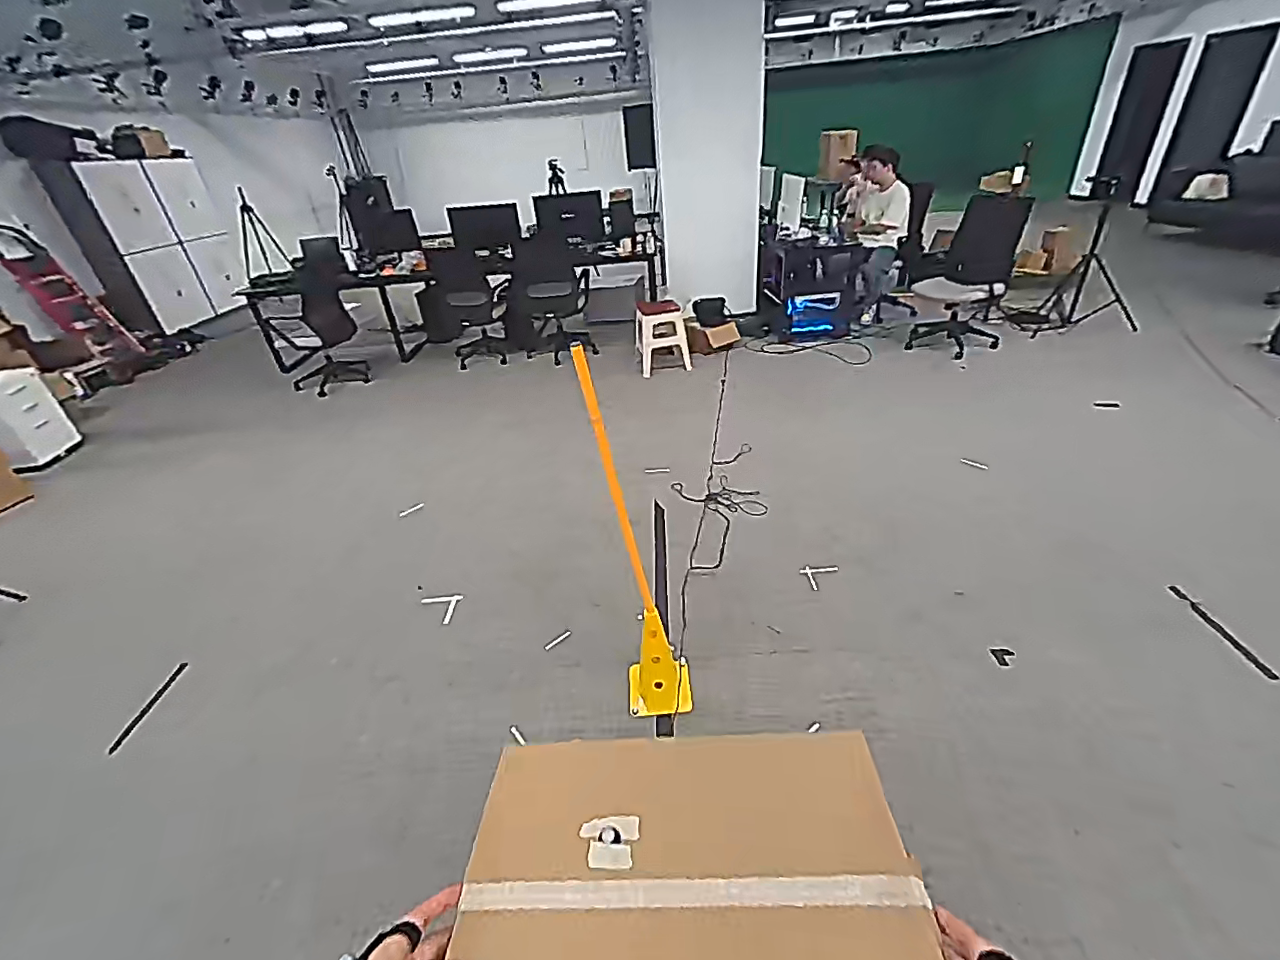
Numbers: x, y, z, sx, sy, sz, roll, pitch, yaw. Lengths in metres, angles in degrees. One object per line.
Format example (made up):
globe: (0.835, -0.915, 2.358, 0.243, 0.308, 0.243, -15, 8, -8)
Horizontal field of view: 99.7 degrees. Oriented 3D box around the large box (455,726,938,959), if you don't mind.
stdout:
large box: (0.061, 0.499, 0.557, 0.408, 0.320, 0.320, -6, 28, 5)
